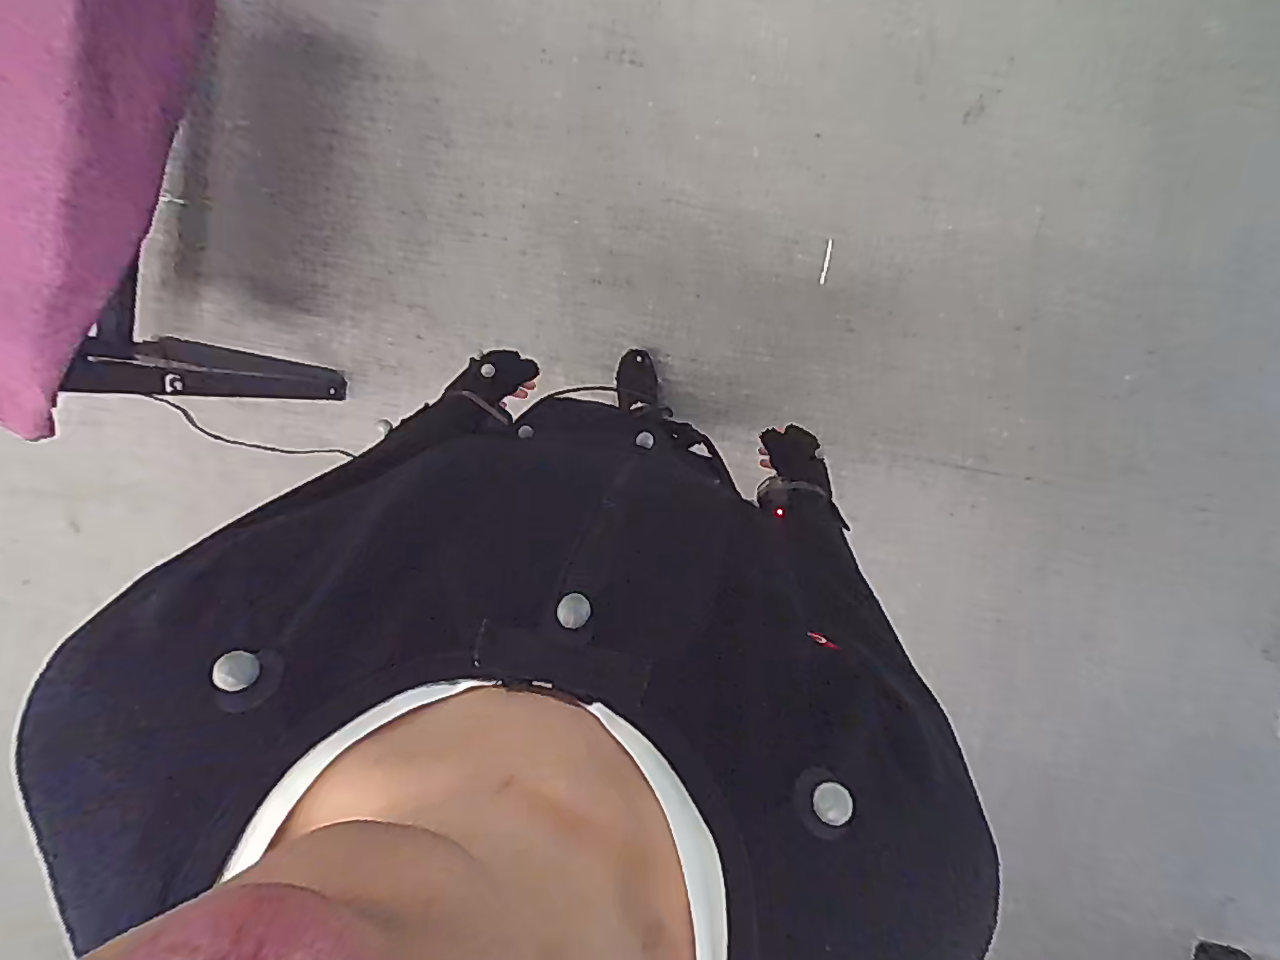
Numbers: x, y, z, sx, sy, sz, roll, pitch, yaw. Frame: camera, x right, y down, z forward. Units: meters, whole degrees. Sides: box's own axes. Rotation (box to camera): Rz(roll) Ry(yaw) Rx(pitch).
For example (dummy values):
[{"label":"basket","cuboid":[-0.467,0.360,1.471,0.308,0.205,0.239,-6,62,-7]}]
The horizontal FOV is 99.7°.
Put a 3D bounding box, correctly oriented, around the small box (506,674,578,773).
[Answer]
[{"label":"small box","cuboid":[-0.272,0.666,1.485,0.168,0.176,0.179,9,99,2]}]
